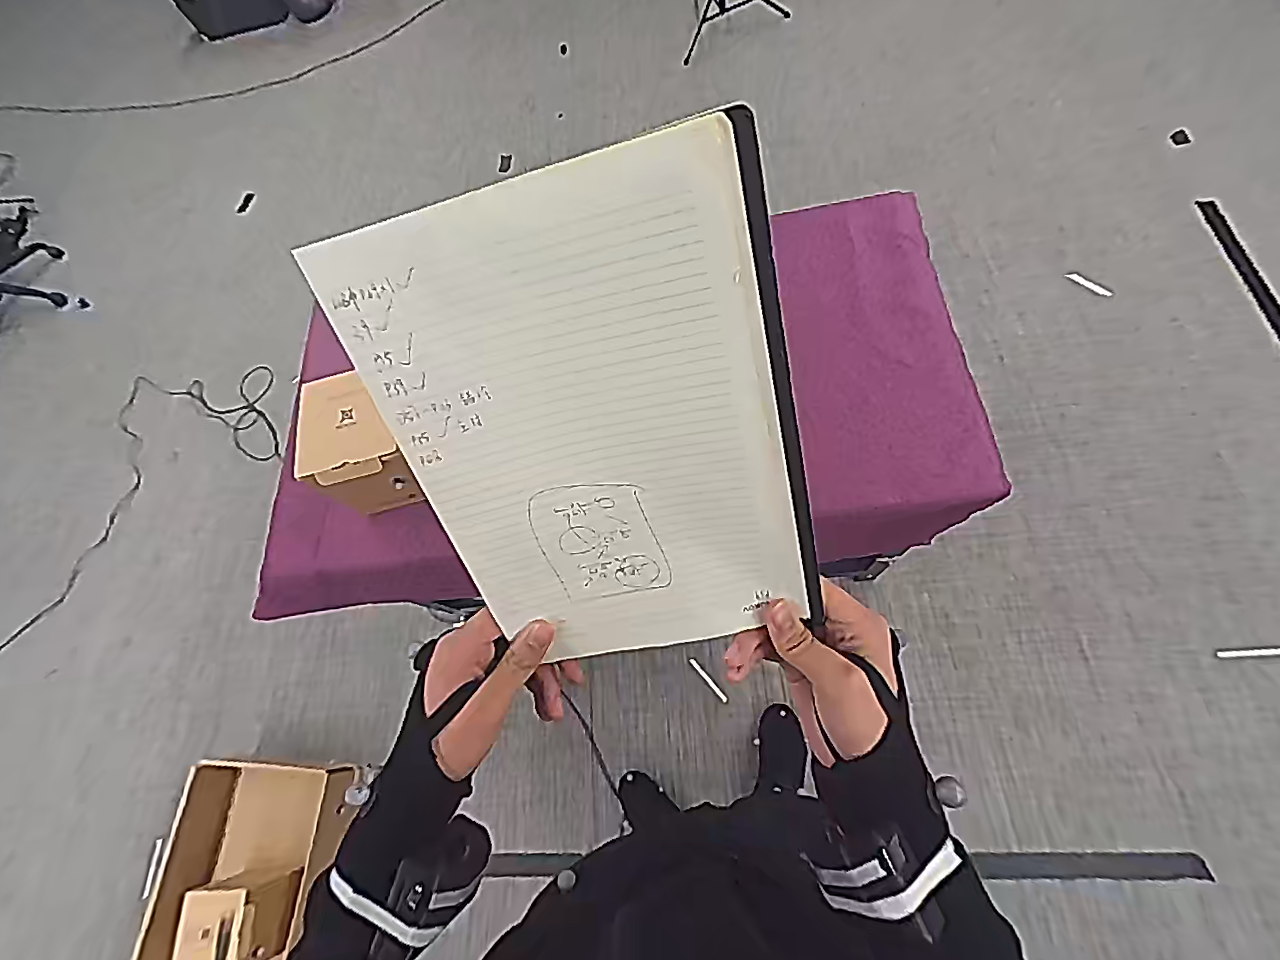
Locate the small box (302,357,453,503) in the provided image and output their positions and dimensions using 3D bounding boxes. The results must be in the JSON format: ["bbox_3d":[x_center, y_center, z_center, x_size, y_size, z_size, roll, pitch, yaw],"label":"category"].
[{"bbox_3d":[-0.428,-0.072,0.905,0.168,0.176,0.179,-13,66,4],"label":"small box"}]
